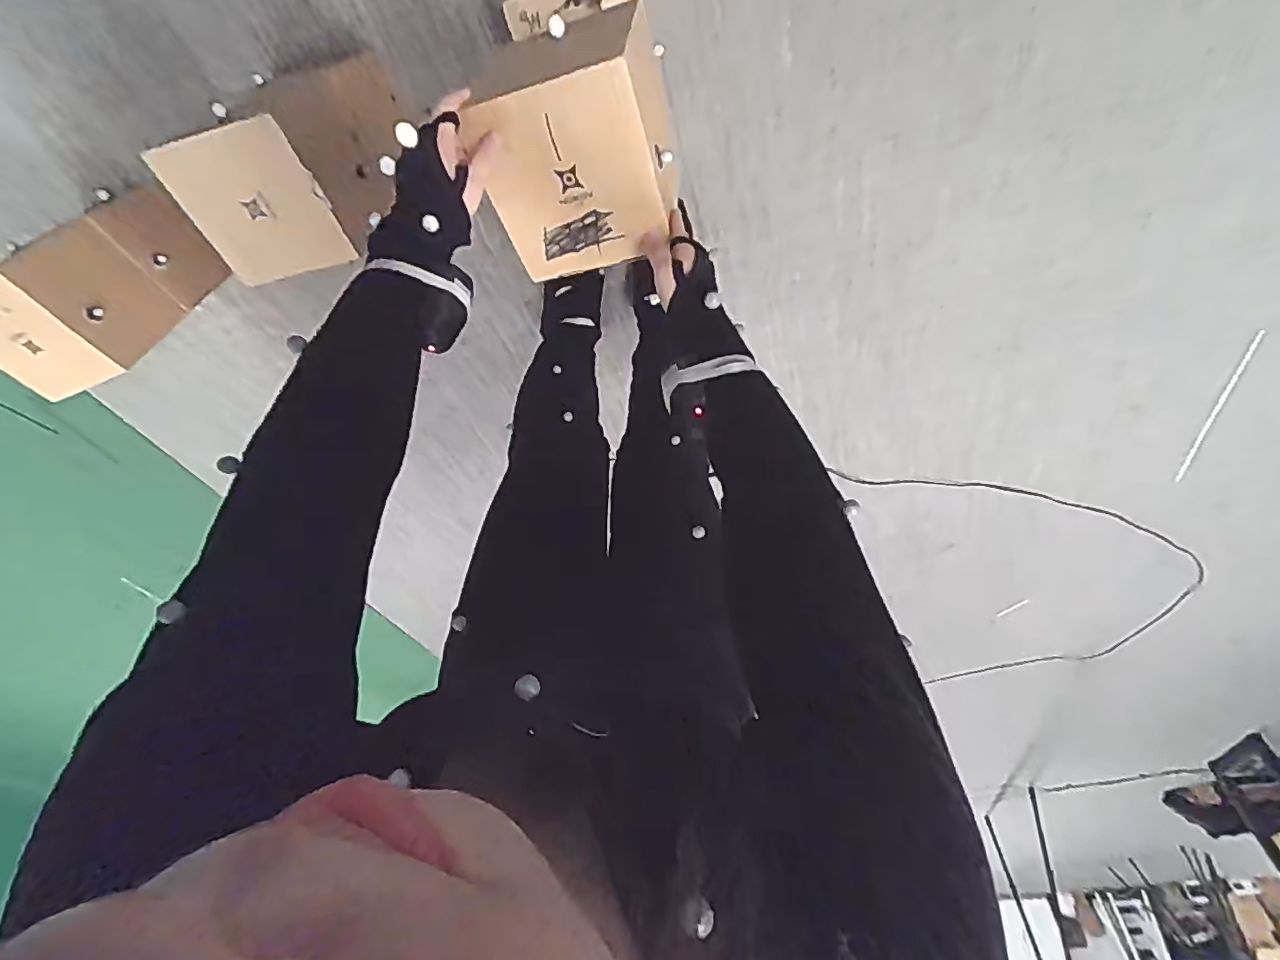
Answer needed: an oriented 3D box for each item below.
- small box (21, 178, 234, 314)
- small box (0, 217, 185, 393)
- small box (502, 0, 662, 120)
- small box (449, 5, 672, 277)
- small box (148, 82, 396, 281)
[{"bbox_3d":[-0.876,-0.392,0.948,0.168,0.176,0.179,-13,135,13],"label":"small box"},{"bbox_3d":[-0.876,-0.270,0.838,0.168,0.176,0.179,-15,135,13],"label":"small box"},{"bbox_3d":[-0.066,-0.583,0.744,0.168,0.176,0.179,-10,136,10],"label":"small box"},{"bbox_3d":[-0.065,-0.352,0.575,0.168,0.176,0.179,-6,142,16],"label":"small box"},{"bbox_3d":[-0.459,-0.391,0.710,0.179,0.176,0.168,-9,136,10],"label":"small box"}]
